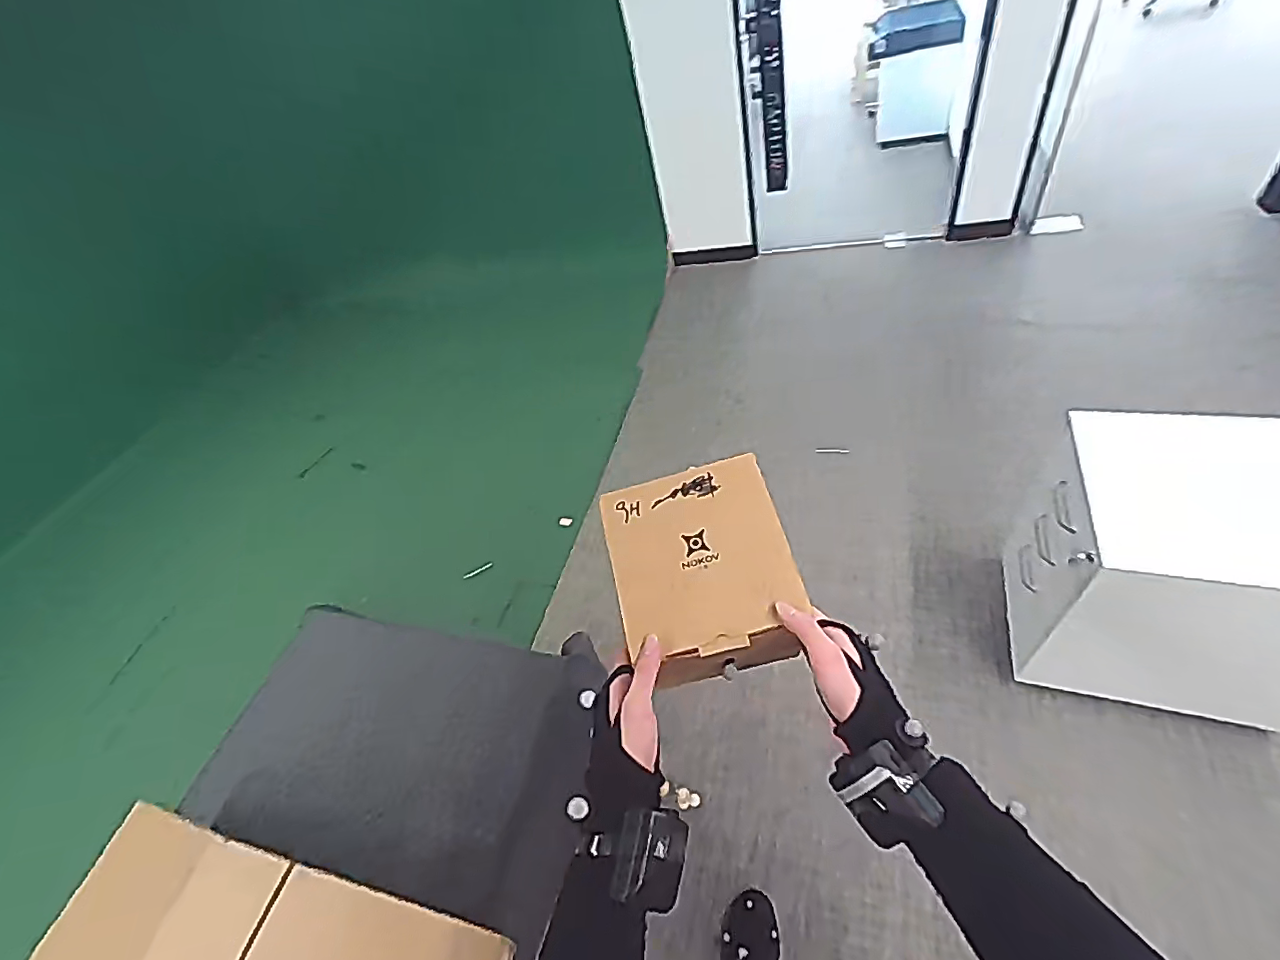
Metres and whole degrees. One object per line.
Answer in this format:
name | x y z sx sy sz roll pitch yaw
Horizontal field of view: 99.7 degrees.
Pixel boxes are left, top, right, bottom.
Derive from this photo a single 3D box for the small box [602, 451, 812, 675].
small box | 0.072 0.101 0.586 0.168 0.176 0.179 -18 60 3
